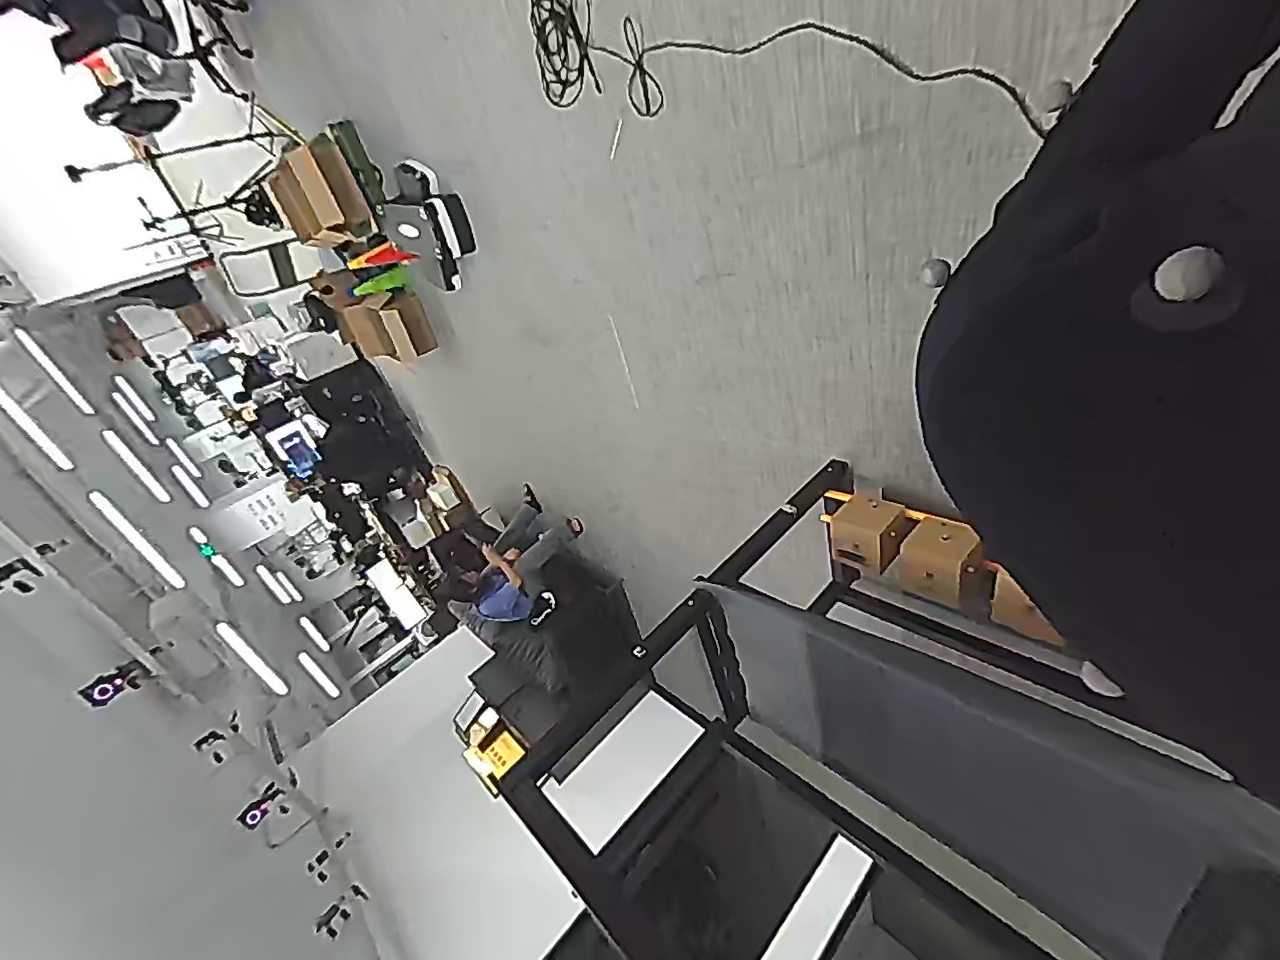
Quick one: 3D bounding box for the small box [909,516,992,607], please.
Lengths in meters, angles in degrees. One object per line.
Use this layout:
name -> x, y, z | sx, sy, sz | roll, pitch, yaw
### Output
small box -> 0.910, 0.230, 1.585 | 0.168, 0.176, 0.179 | 18, 135, 46
